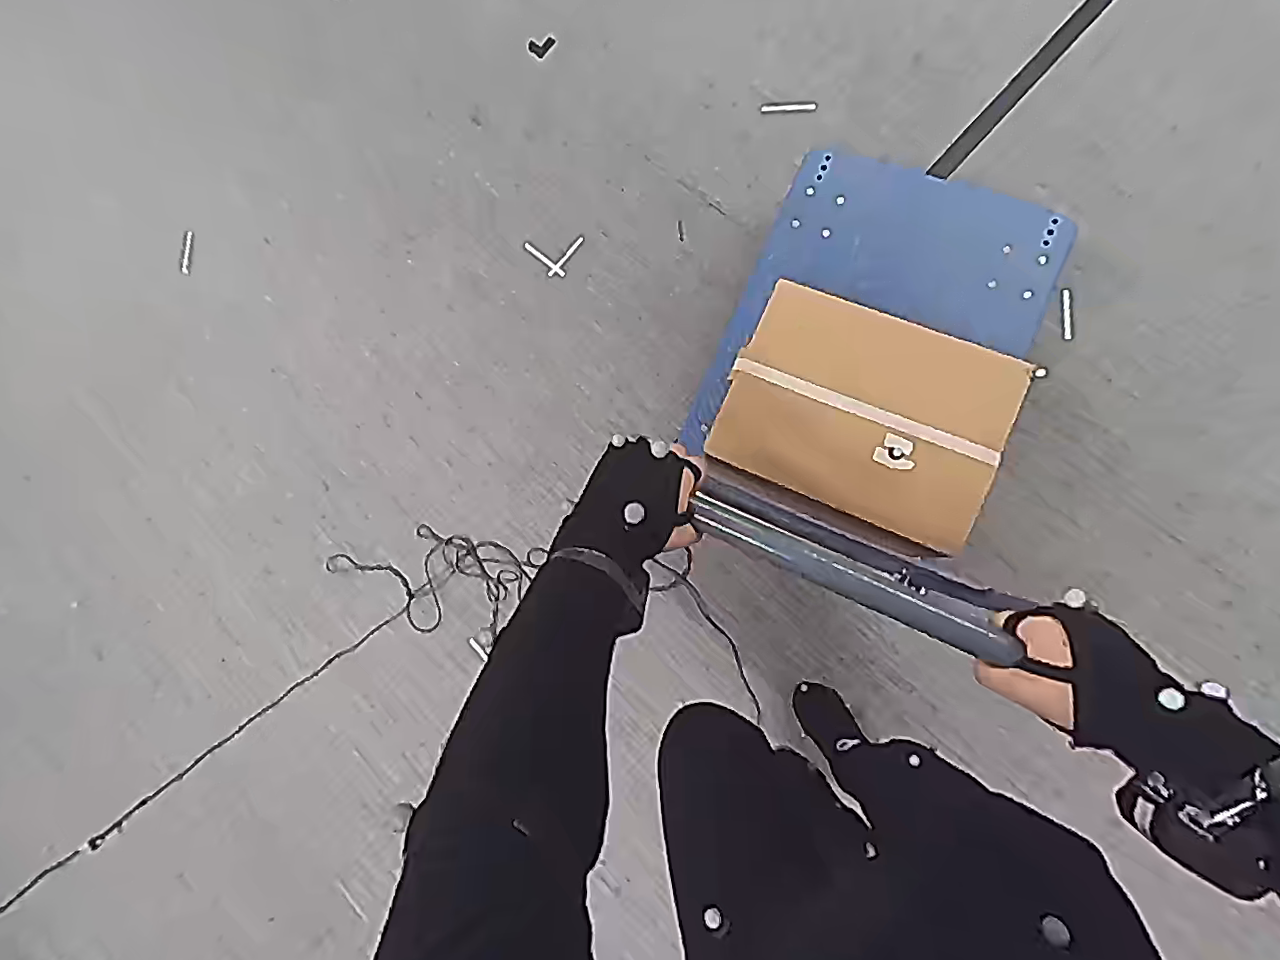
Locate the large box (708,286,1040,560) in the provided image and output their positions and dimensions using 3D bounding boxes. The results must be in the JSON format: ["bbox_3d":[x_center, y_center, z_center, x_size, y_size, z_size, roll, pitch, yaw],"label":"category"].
[{"bbox_3d":[0.363,-0.078,0.957,0.408,0.320,0.320,24,87,11],"label":"large box"}]
